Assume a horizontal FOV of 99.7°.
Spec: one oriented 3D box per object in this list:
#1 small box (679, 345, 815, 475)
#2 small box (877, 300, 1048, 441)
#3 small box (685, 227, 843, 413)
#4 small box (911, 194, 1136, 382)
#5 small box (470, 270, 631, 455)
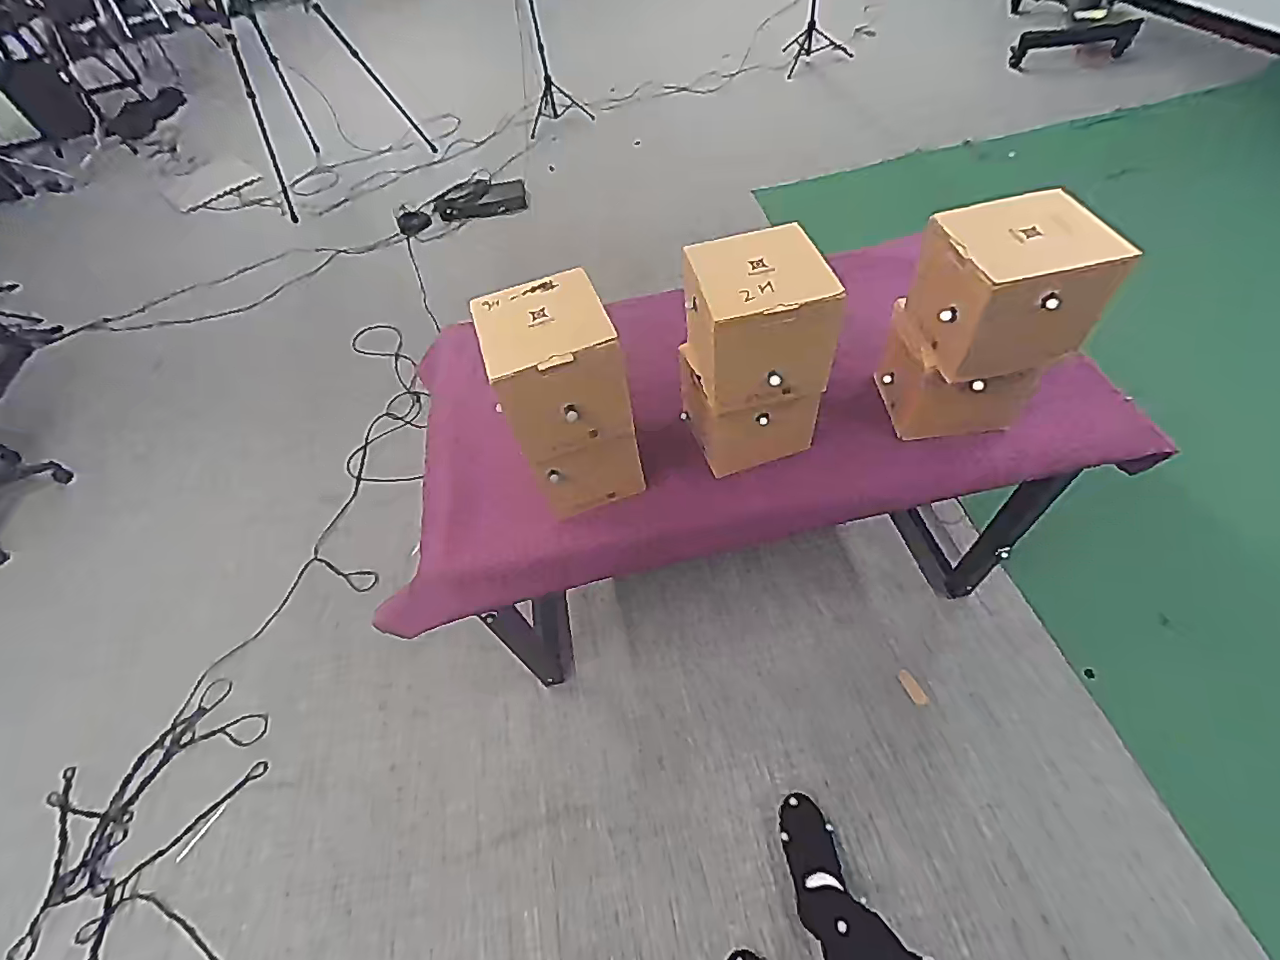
[{"bbox_3d":[0.177,-0.132,0.903,0.179,0.176,0.168,-18,54,-5],"label":"small box"},{"bbox_3d":[0.513,-0.183,0.888,0.179,0.176,0.168,-6,53,6],"label":"small box"},{"bbox_3d":[0.162,-0.223,0.766,0.168,0.176,0.179,-12,54,0],"label":"small box"},{"bbox_3d":[0.495,-0.255,0.739,0.179,0.176,0.168,-10,53,3],"label":"small box"},{"bbox_3d":[-0.120,-0.155,0.759,0.168,0.176,0.179,-19,54,-5],"label":"small box"}]
